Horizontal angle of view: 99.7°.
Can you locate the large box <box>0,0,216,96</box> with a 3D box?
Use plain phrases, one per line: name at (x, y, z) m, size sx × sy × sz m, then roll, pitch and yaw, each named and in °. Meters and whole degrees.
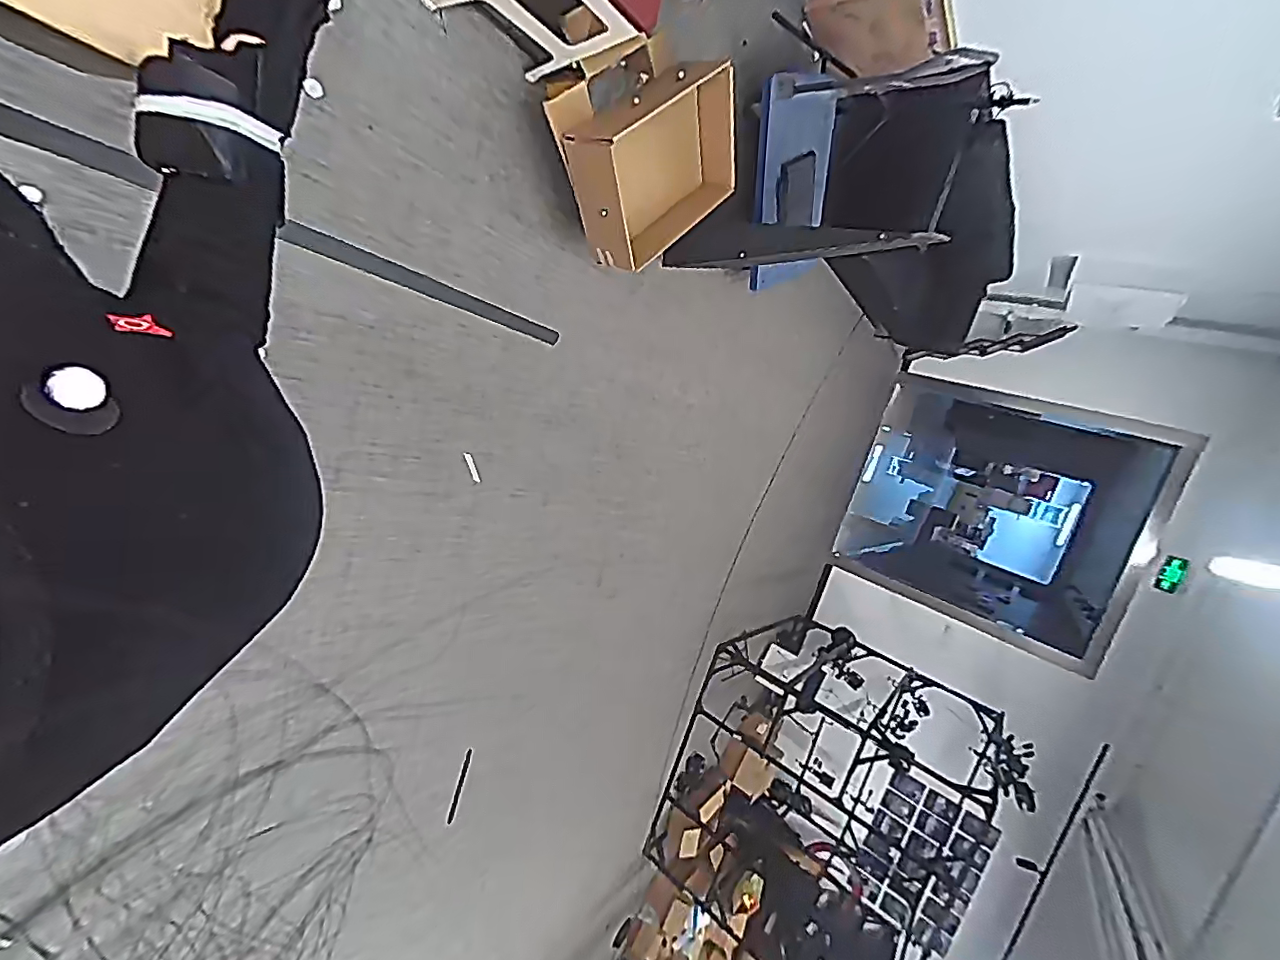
large box at (-0.481, -0.466, 0.251) m, size 0.408 × 0.320 × 0.320 m, roll -1°, pitch 116°, yaw -59°
